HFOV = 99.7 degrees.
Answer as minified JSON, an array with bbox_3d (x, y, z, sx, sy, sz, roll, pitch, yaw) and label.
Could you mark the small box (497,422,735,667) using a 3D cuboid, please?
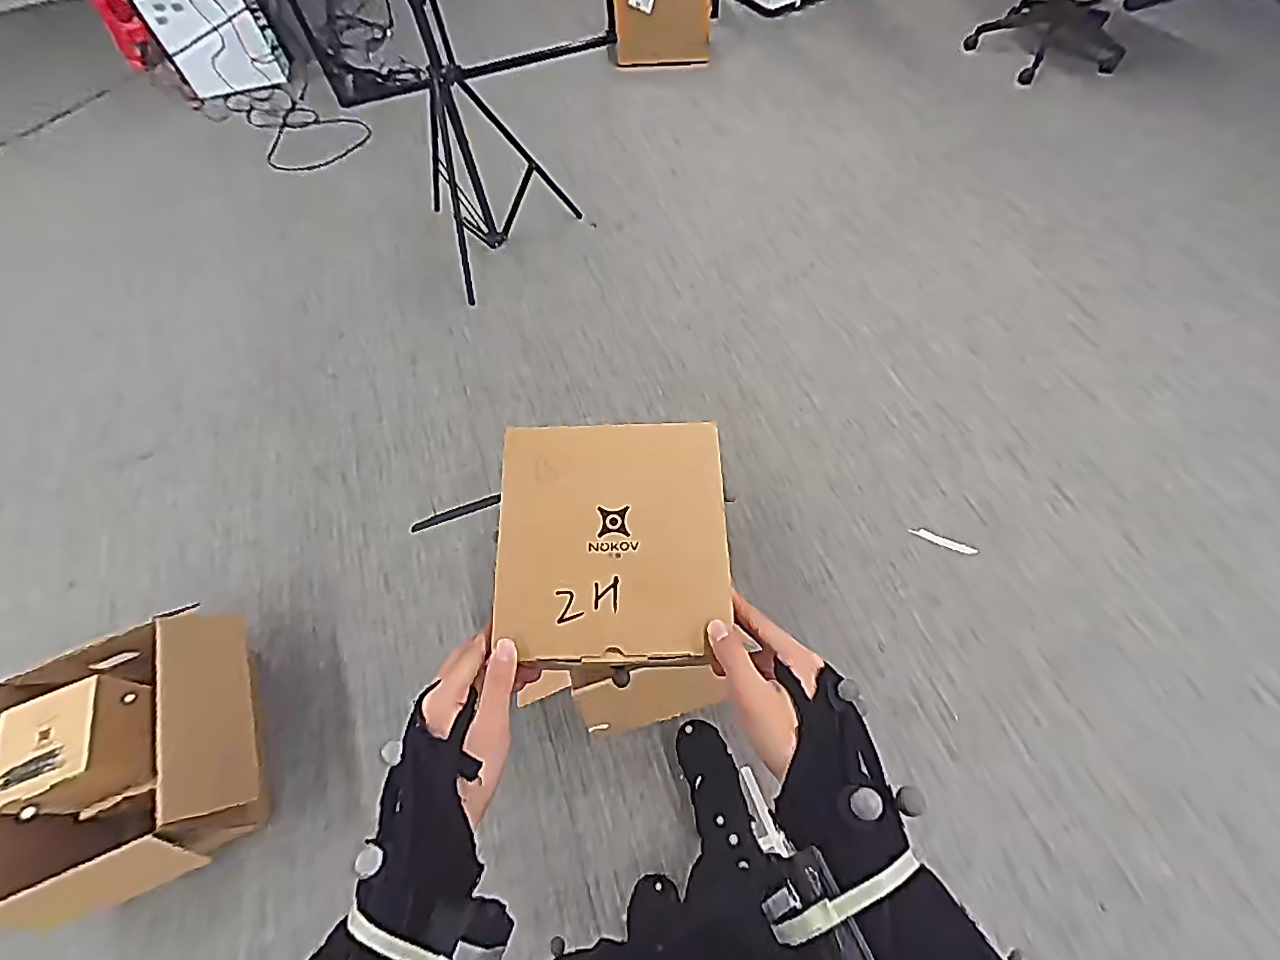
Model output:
[{"bbox_3d":[-0.017,0.065,0.471,0.168,0.176,0.179,-2,69,0],"label":"small box"}]
